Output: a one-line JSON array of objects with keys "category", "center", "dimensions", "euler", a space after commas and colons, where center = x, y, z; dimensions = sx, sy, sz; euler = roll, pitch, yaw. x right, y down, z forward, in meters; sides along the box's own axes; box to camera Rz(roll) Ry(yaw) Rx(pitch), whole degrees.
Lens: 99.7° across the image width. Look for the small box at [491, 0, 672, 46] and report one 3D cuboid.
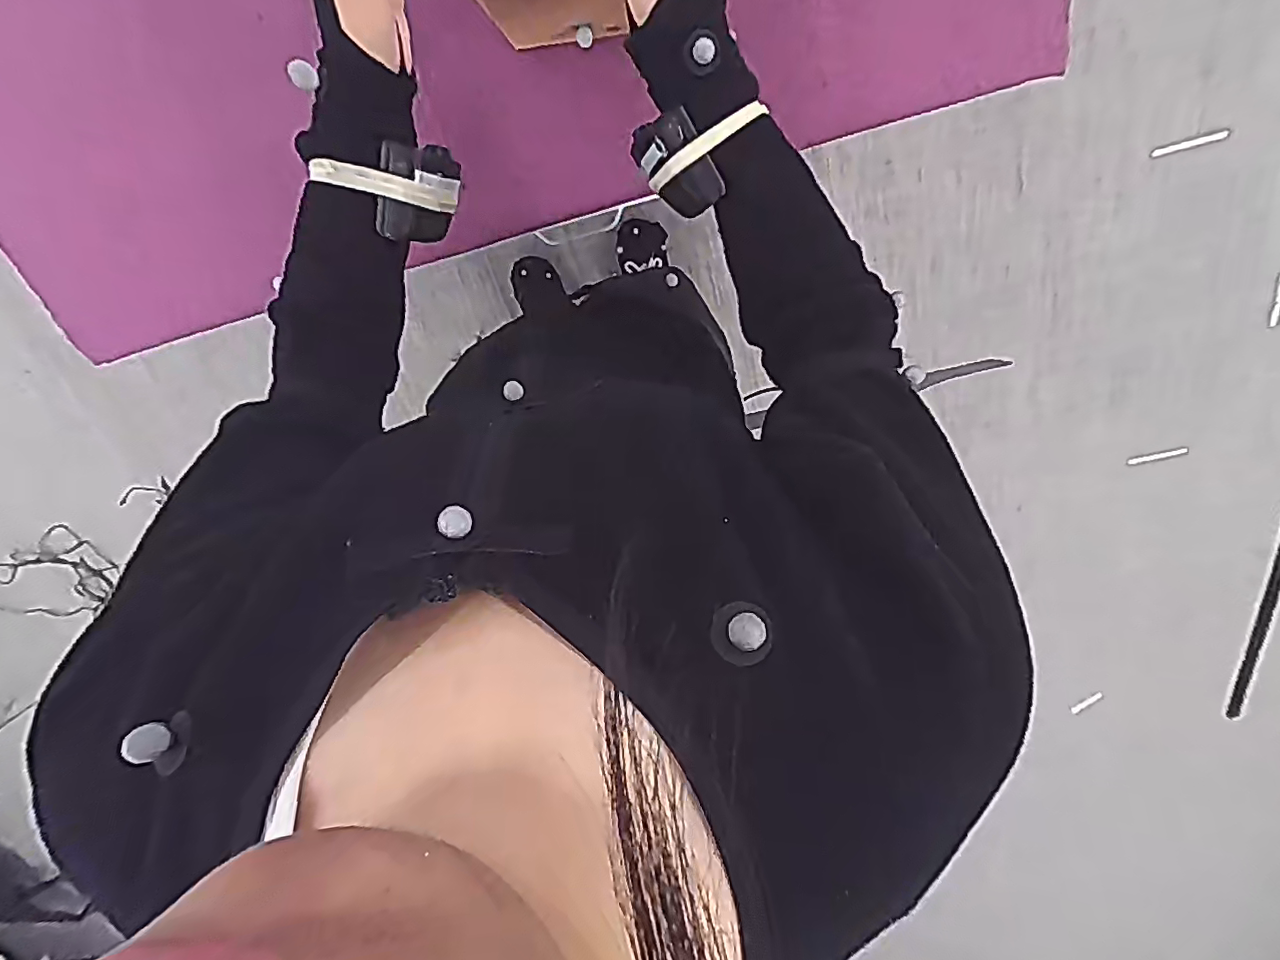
[{"category": "small box", "center": [-0.059, -0.493, 0.443], "dimensions": [0.168, 0.176, 0.179], "euler": [-5, 117, 3]}]
